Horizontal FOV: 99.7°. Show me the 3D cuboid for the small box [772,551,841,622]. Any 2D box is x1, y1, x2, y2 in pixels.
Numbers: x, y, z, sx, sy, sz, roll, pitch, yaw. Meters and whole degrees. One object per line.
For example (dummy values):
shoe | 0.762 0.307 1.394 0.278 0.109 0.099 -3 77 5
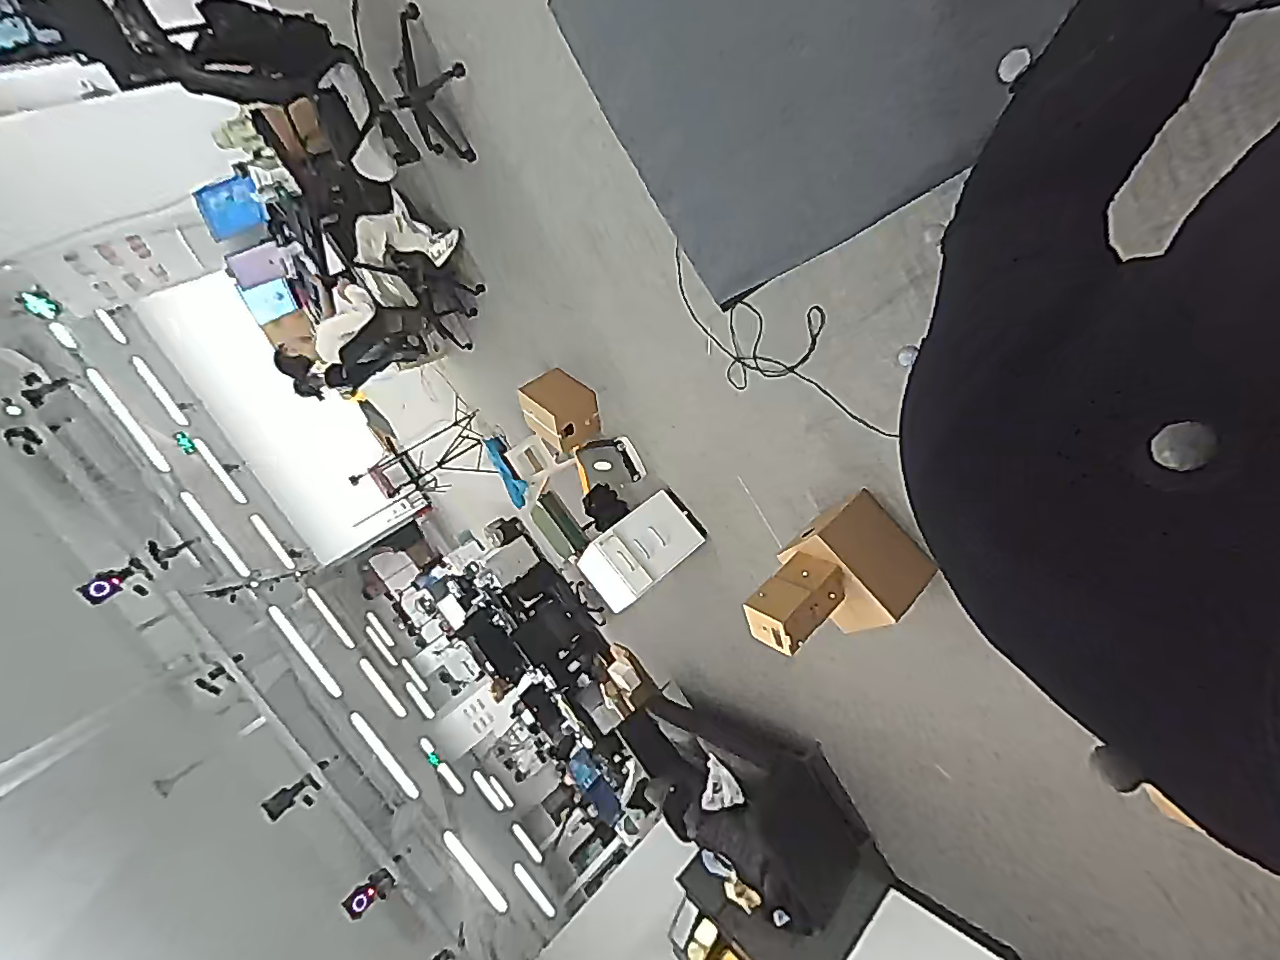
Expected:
small box | 0.618 0.384 1.987 0.179 0.176 0.168 16 135 49
